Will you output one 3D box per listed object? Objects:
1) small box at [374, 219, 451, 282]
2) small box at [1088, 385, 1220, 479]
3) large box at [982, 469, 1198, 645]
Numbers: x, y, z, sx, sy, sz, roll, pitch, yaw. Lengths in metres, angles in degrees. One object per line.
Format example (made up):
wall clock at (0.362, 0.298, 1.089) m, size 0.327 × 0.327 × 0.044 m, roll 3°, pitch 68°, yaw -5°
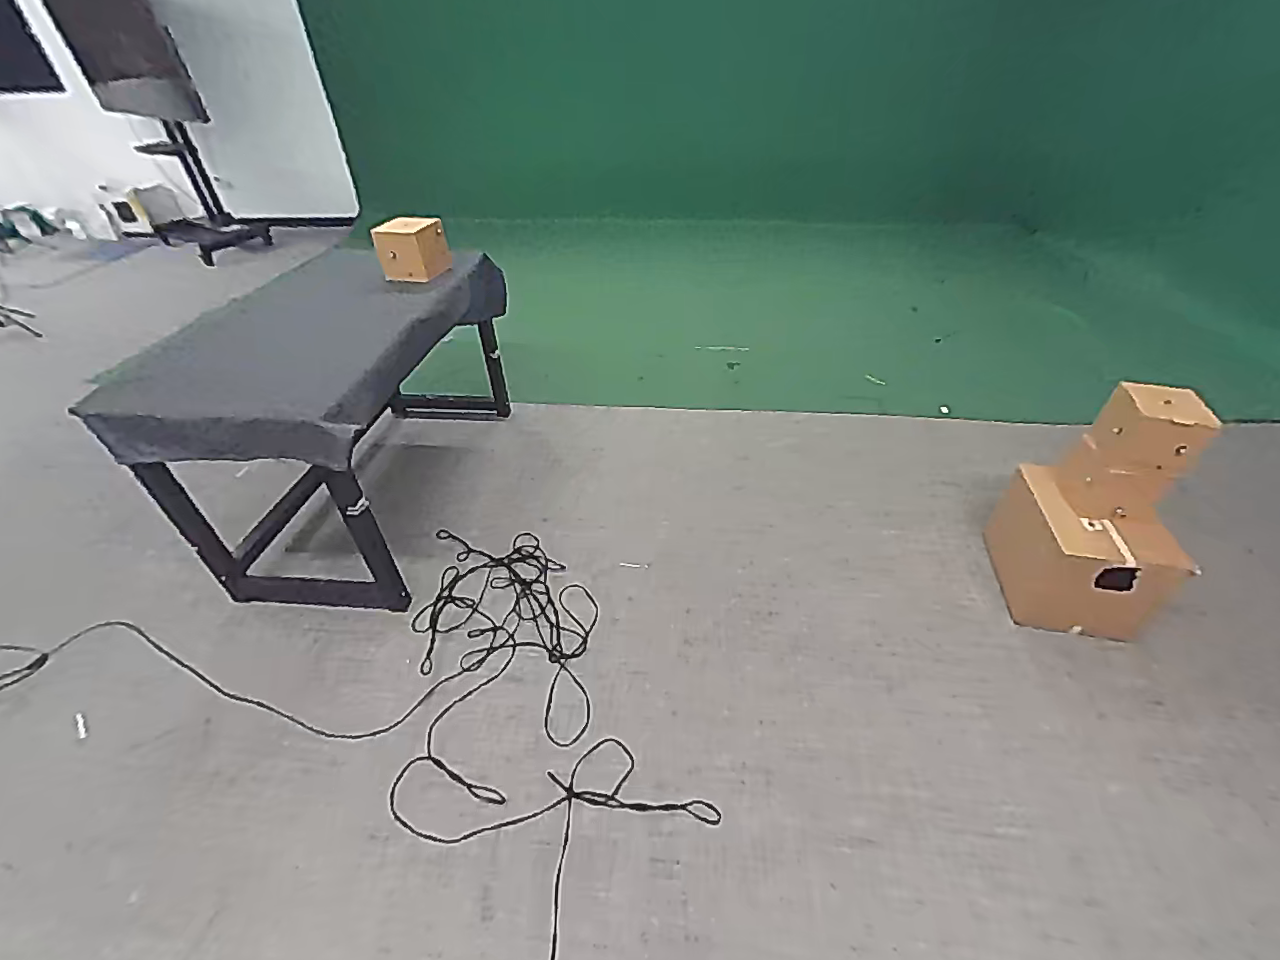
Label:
small box at (-0.788, -0.805, 1.898) m, size 0.168 × 0.176 × 0.179 m, roll 7°, pitch 40°, yaw 11°
small box at (1.327, -0.124, 1.413) m, size 0.168 × 0.176 × 0.179 m, roll 11°, pitch 41°, yaw 13°
large box at (1.306, 0.221, 1.635) m, size 0.320 × 0.320 × 0.408 m, roll 7°, pitch 41°, yaw 11°
